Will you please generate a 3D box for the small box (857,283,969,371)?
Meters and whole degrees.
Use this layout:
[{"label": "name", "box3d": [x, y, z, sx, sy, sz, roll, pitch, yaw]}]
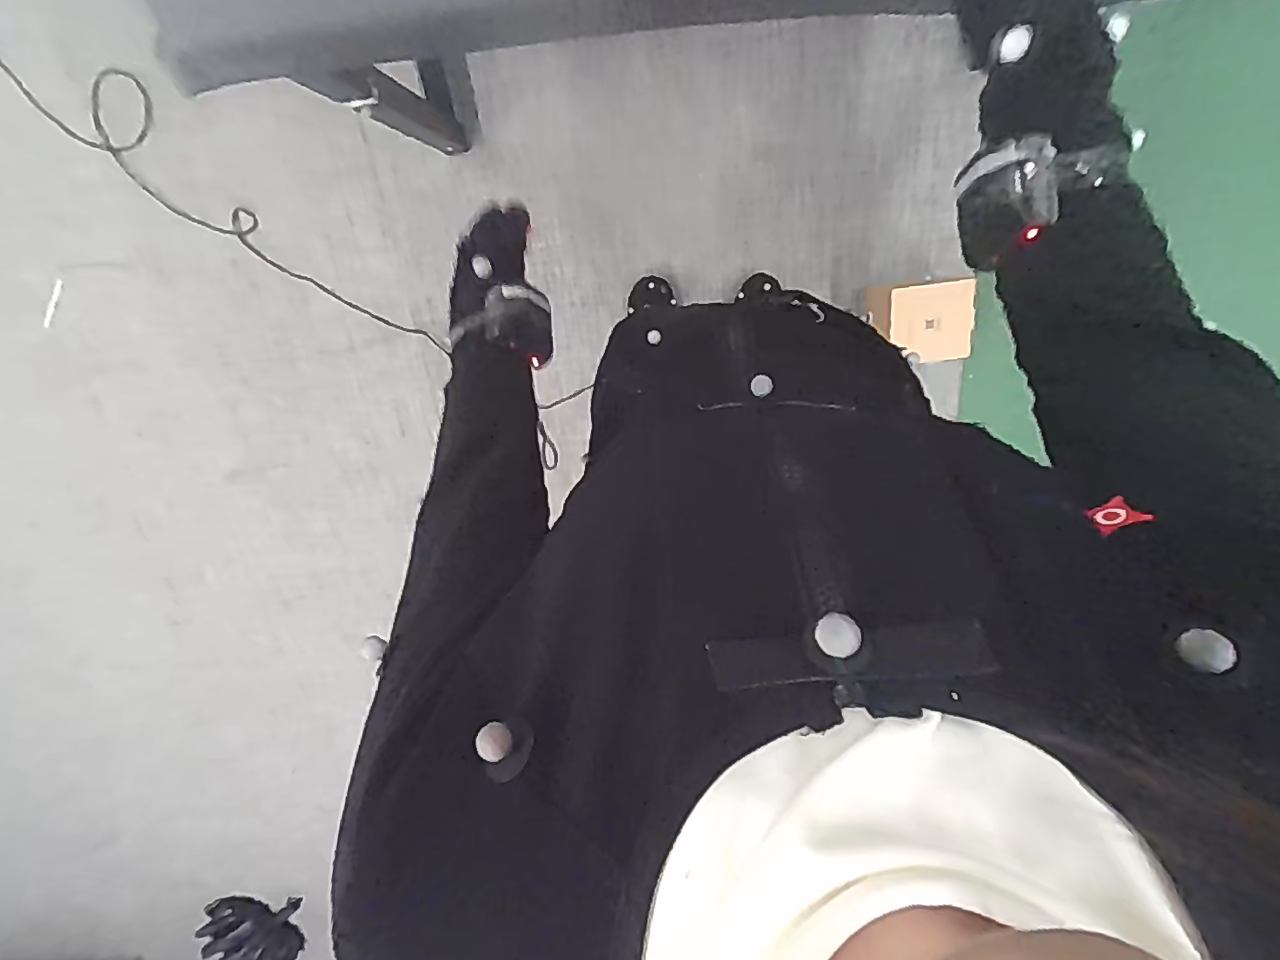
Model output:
[{"label": "small box", "box3d": [0.616, -0.355, 1.239, 0.179, 0.176, 0.168, -6, 111, 5]}]
